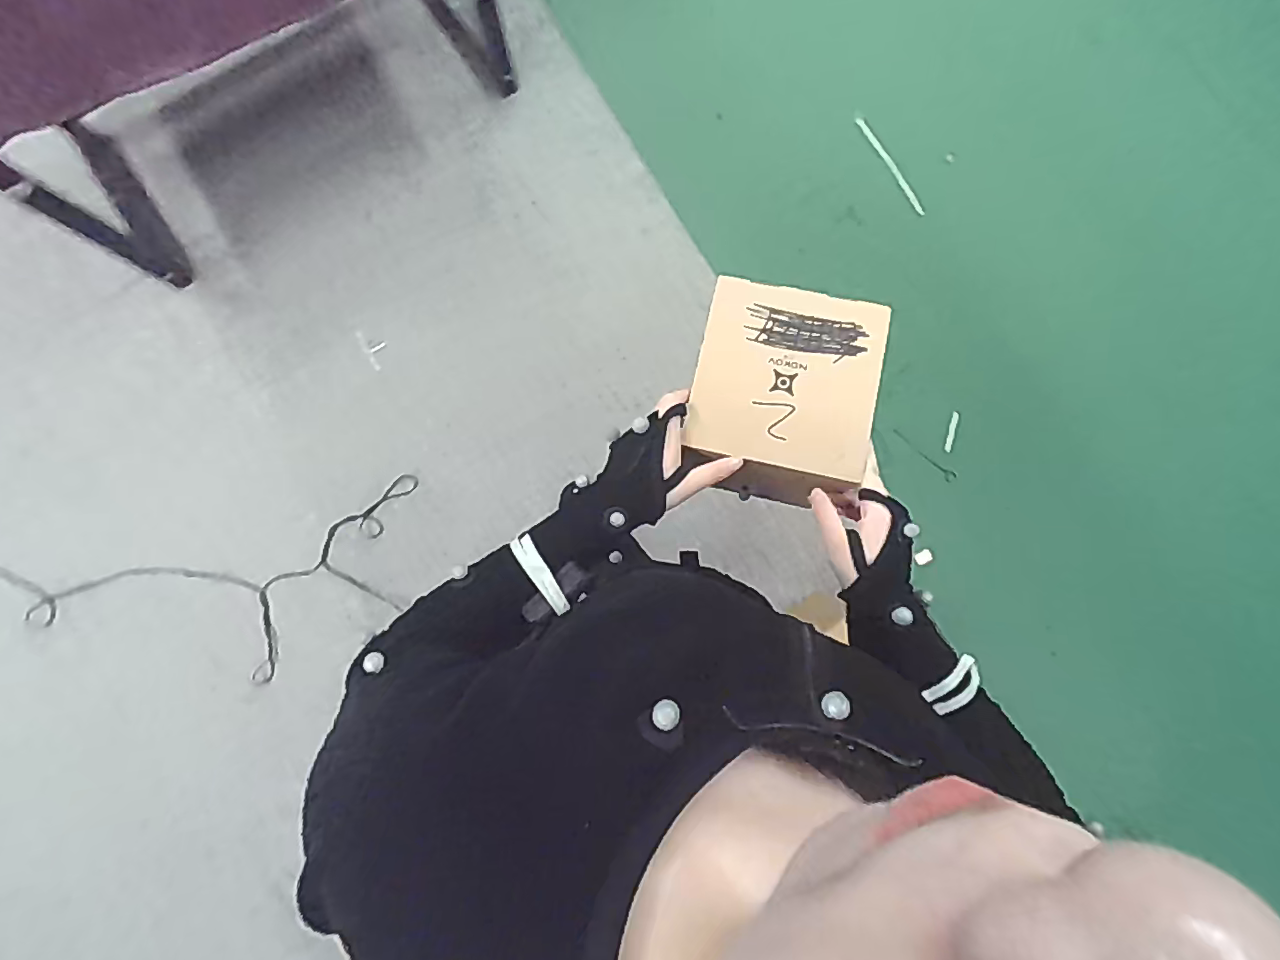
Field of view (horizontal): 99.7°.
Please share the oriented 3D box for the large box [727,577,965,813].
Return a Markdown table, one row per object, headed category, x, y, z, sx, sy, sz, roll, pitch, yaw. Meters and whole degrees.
| category | x | y | z | sx | sy | sz | roll | pitch | yaw |
| --- | --- | --- | --- | --- | --- | --- | --- | --- | --- |
| large box | 0.481 | 0.497 | 1.348 | 0.320 | 0.320 | 0.408 | -36 | 87 | -5 |
